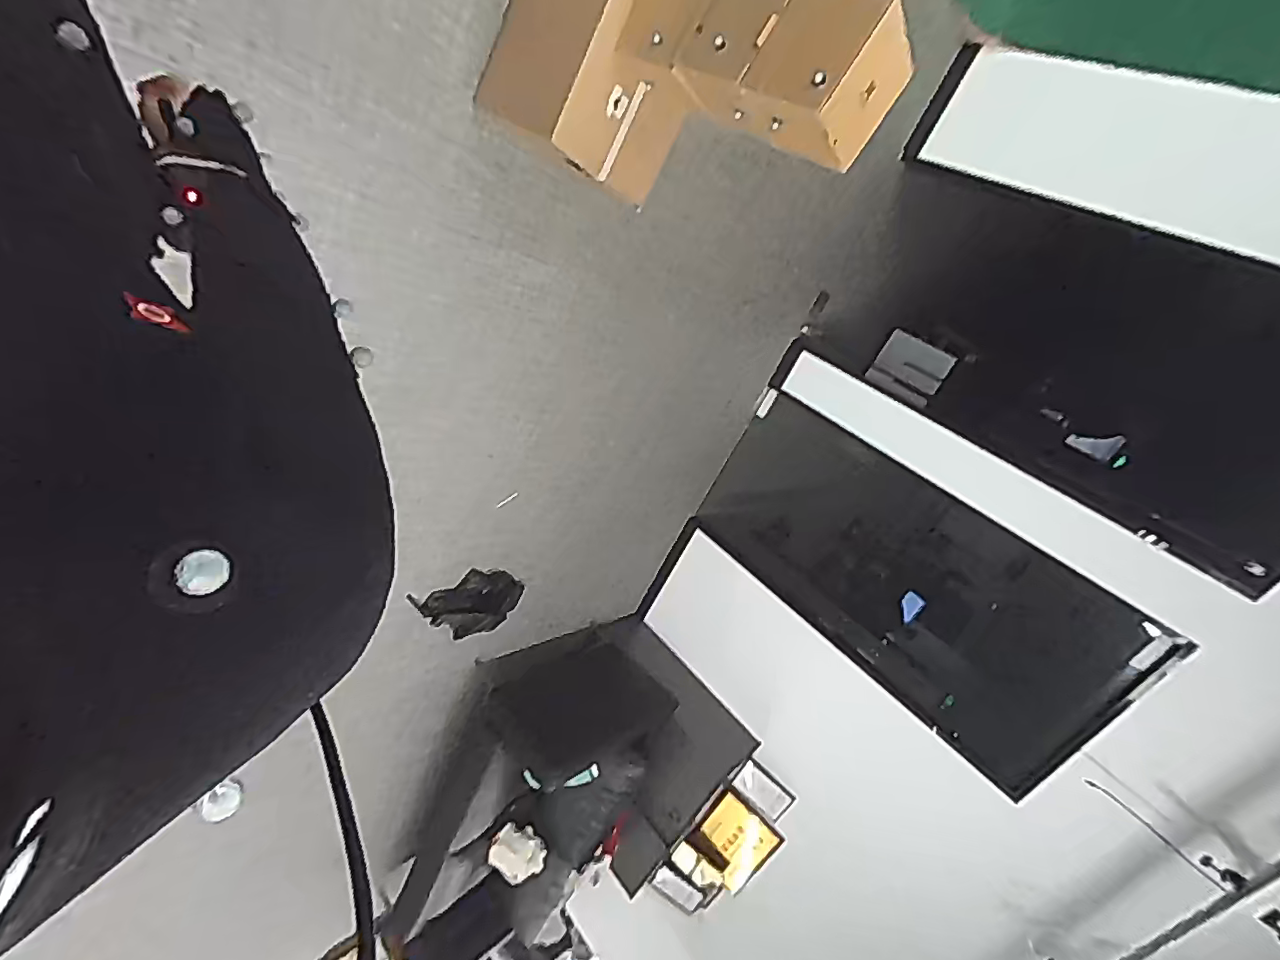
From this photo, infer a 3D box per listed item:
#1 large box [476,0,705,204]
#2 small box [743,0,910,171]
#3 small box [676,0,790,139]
[{"bbox_3d":[-0.097,-0.921,1.199,0.320,0.320,0.408,2,124,-53],"label":"large box"},{"bbox_3d":[0.301,-0.656,0.879,0.179,0.176,0.168,-55,151,17],"label":"small box"},{"bbox_3d":[0.195,-0.752,0.956,0.179,0.176,0.168,5,124,-56],"label":"small box"}]
